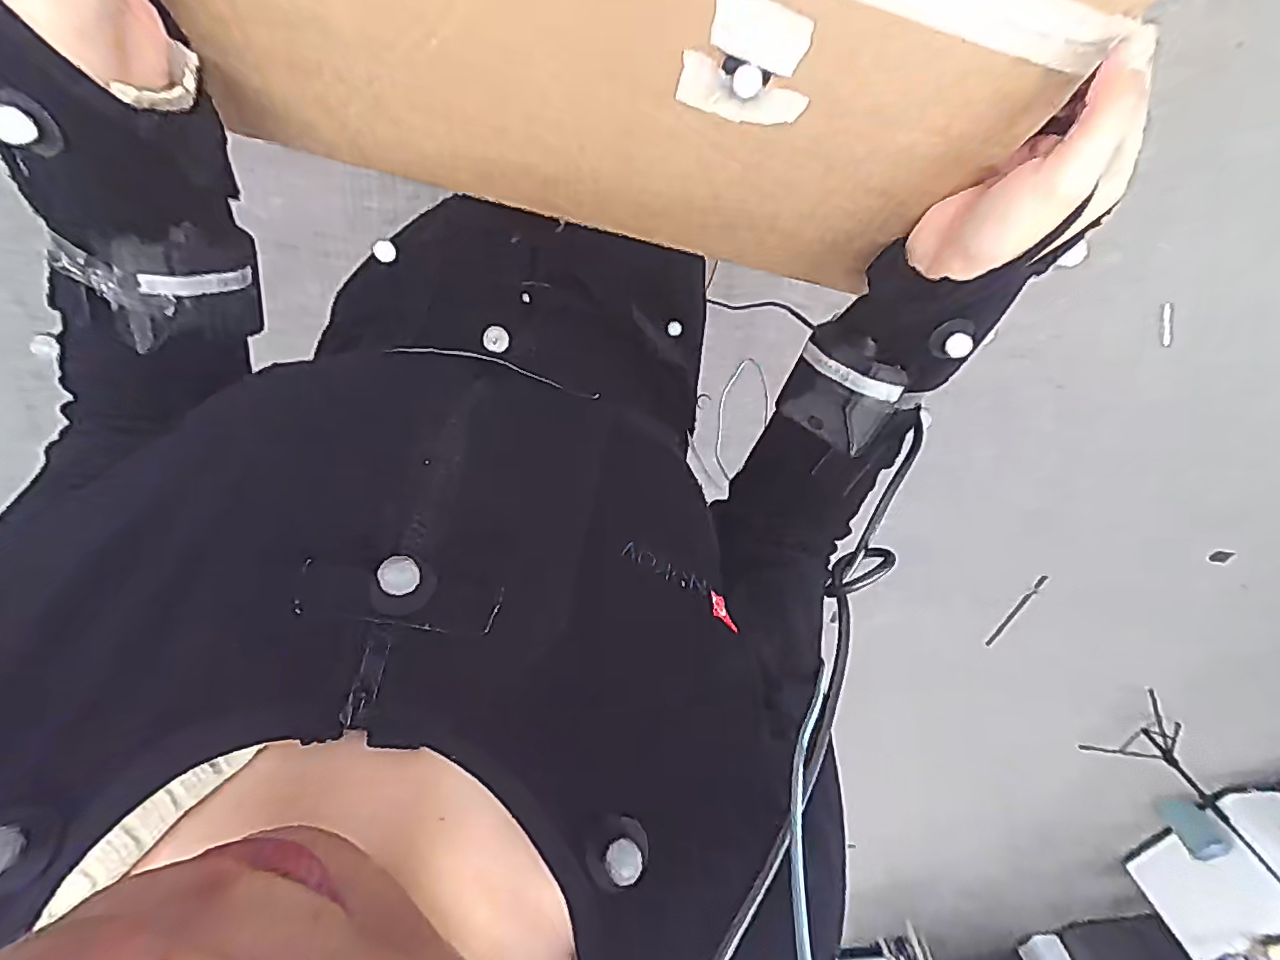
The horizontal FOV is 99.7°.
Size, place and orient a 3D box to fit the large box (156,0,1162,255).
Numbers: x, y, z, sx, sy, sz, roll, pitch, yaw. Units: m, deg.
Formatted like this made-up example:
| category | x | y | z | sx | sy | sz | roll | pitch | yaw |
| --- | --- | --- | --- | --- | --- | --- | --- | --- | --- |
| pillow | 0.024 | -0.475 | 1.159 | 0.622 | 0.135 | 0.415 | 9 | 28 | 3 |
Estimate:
| category | x | y | z | sx | sy | sz | roll | pitch | yaw |
| --- | --- | --- | --- | --- | --- | --- | --- | --- | --- |
| large box | 0.020 | -0.358 | 0.216 | 0.408 | 0.320 | 0.320 | 9 | 158 | -10 |
